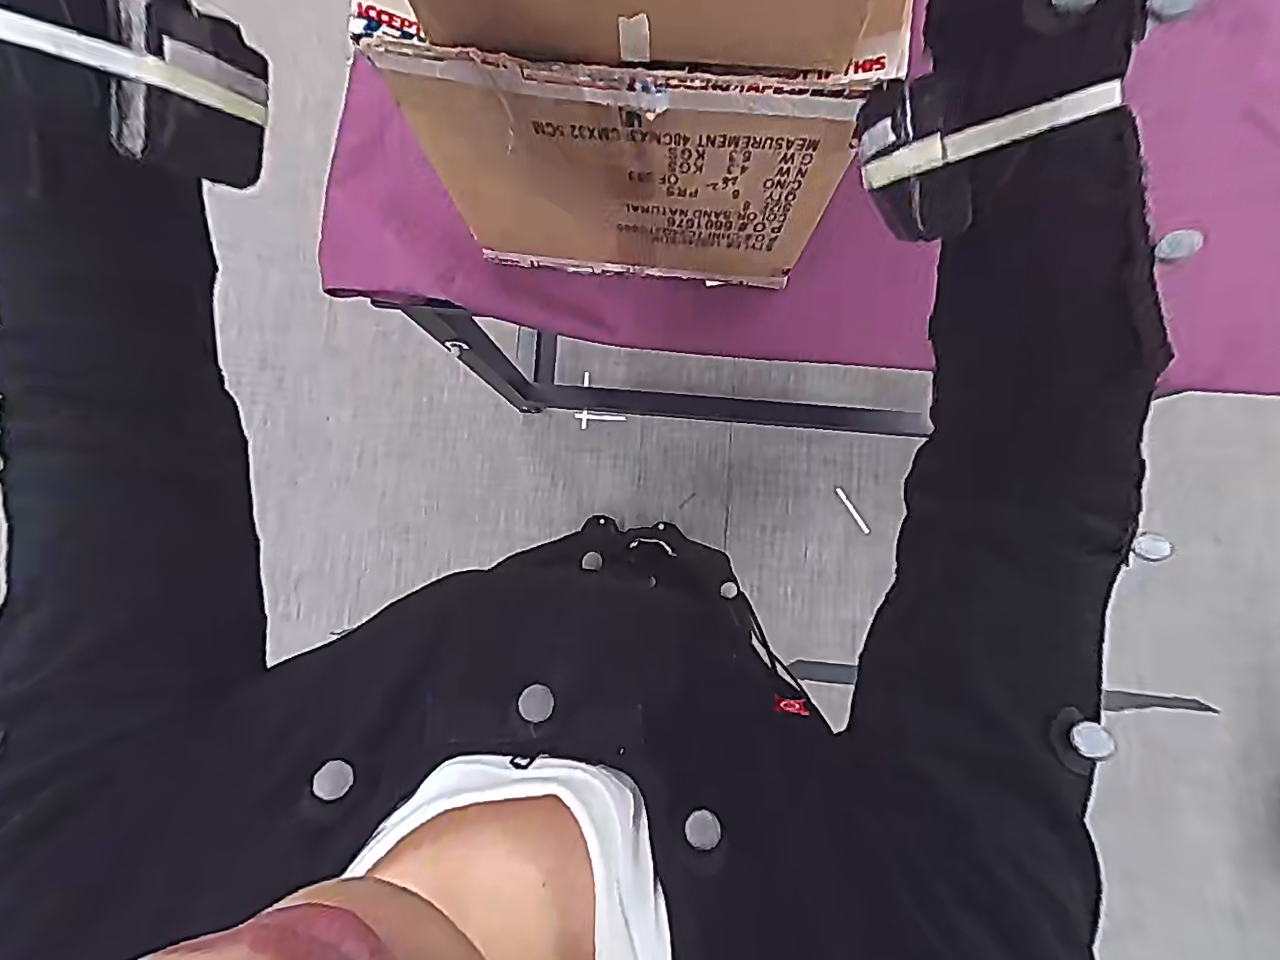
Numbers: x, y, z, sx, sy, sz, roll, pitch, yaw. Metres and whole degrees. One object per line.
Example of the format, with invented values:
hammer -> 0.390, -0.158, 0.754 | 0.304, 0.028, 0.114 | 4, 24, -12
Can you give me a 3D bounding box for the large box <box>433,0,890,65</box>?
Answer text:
large box -> 0.019, -0.515, 0.259 | 0.320, 0.320, 0.408 | 4, 85, 3
